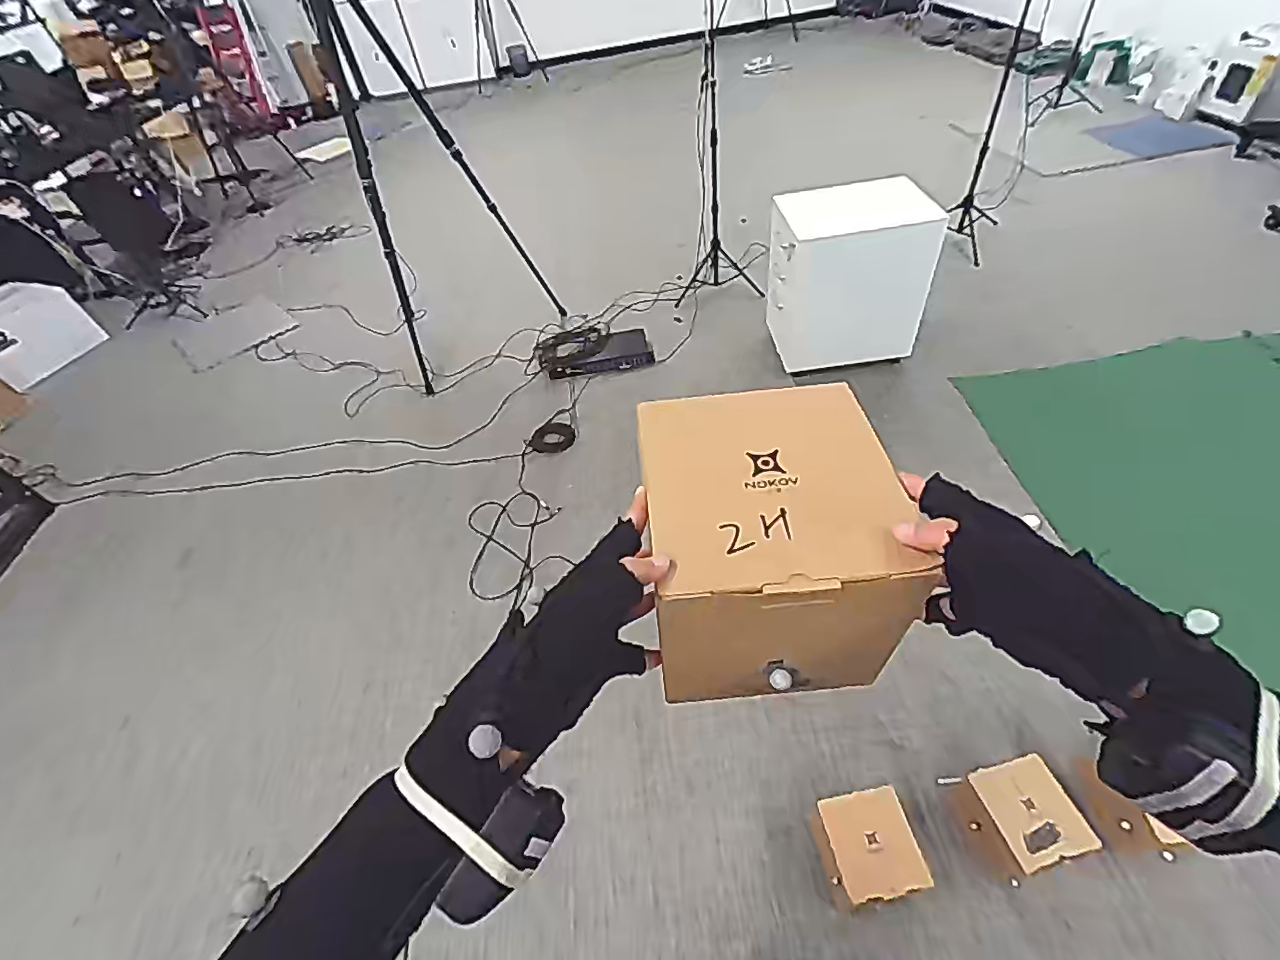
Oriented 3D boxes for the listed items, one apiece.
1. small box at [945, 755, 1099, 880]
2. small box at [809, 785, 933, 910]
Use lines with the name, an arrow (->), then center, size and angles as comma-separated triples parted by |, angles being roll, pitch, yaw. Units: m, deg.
small box -> 0.777, 0.705, 1.124 | 0.168, 0.176, 0.179 | -14, 47, -4
small box -> 0.465, 0.764, 1.122 | 0.168, 0.176, 0.179 | -12, 48, -1
